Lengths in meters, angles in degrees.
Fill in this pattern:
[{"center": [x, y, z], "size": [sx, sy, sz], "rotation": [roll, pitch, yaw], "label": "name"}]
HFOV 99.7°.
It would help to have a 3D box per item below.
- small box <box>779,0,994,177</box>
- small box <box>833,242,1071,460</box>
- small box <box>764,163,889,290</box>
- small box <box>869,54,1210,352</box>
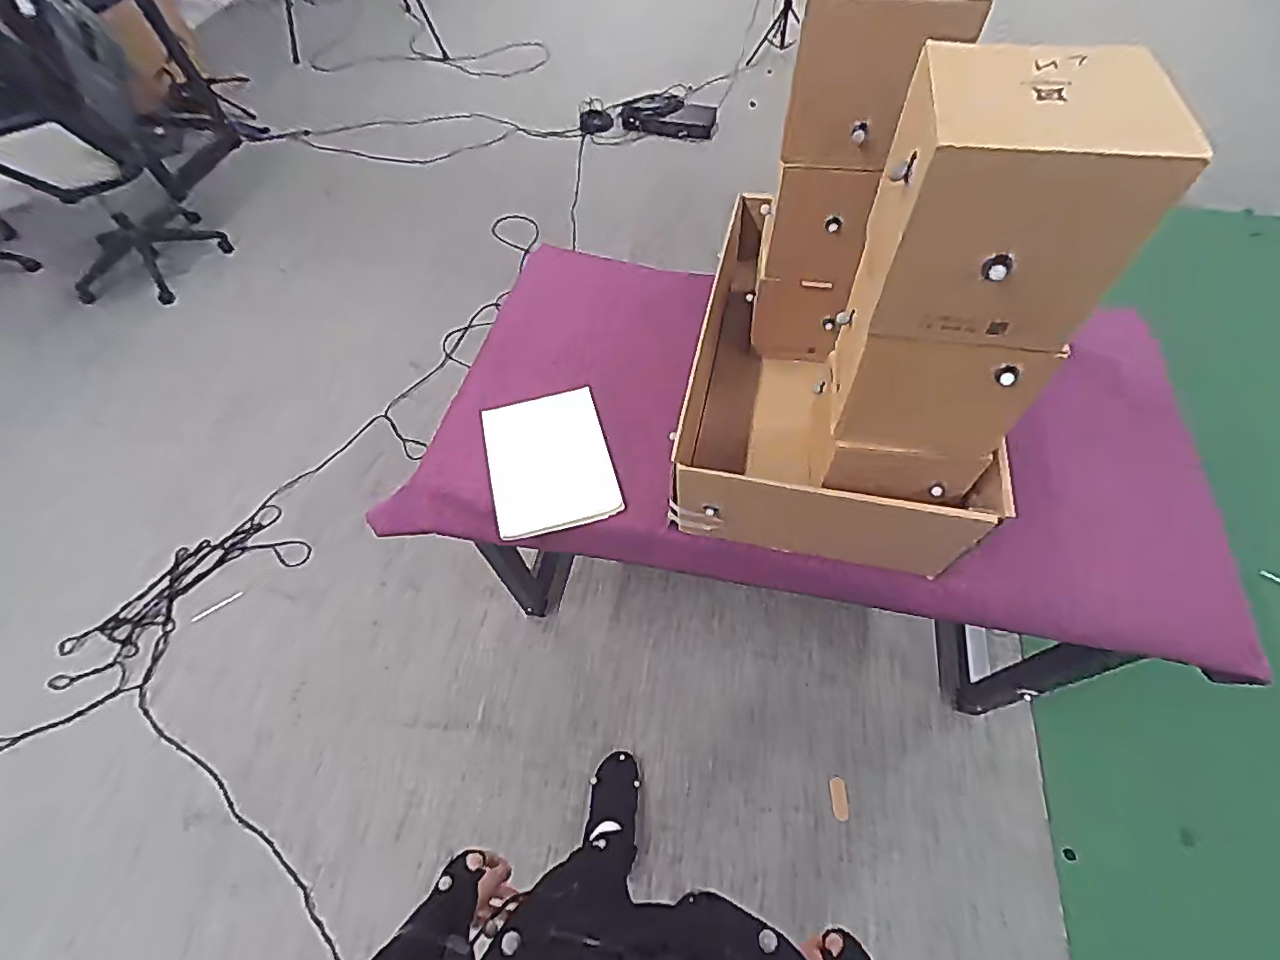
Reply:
[{"center": [0.273, -0.483, 0.634], "size": [0.179, 0.176, 0.168], "rotation": [10, 59, 8], "label": "small box"}, {"center": [0.323, -0.141, 0.602], "size": [0.179, 0.176, 0.168], "rotation": [10, 57, 10], "label": "small box"}, {"center": [0.283, -0.393, 0.771], "size": [0.179, 0.176, 0.168], "rotation": [7, 59, 8], "label": "small box"}, {"center": [0.307, -0.234, 0.467], "size": [0.168, 0.176, 0.179], "rotation": [10, 57, 10], "label": "small box"}]
